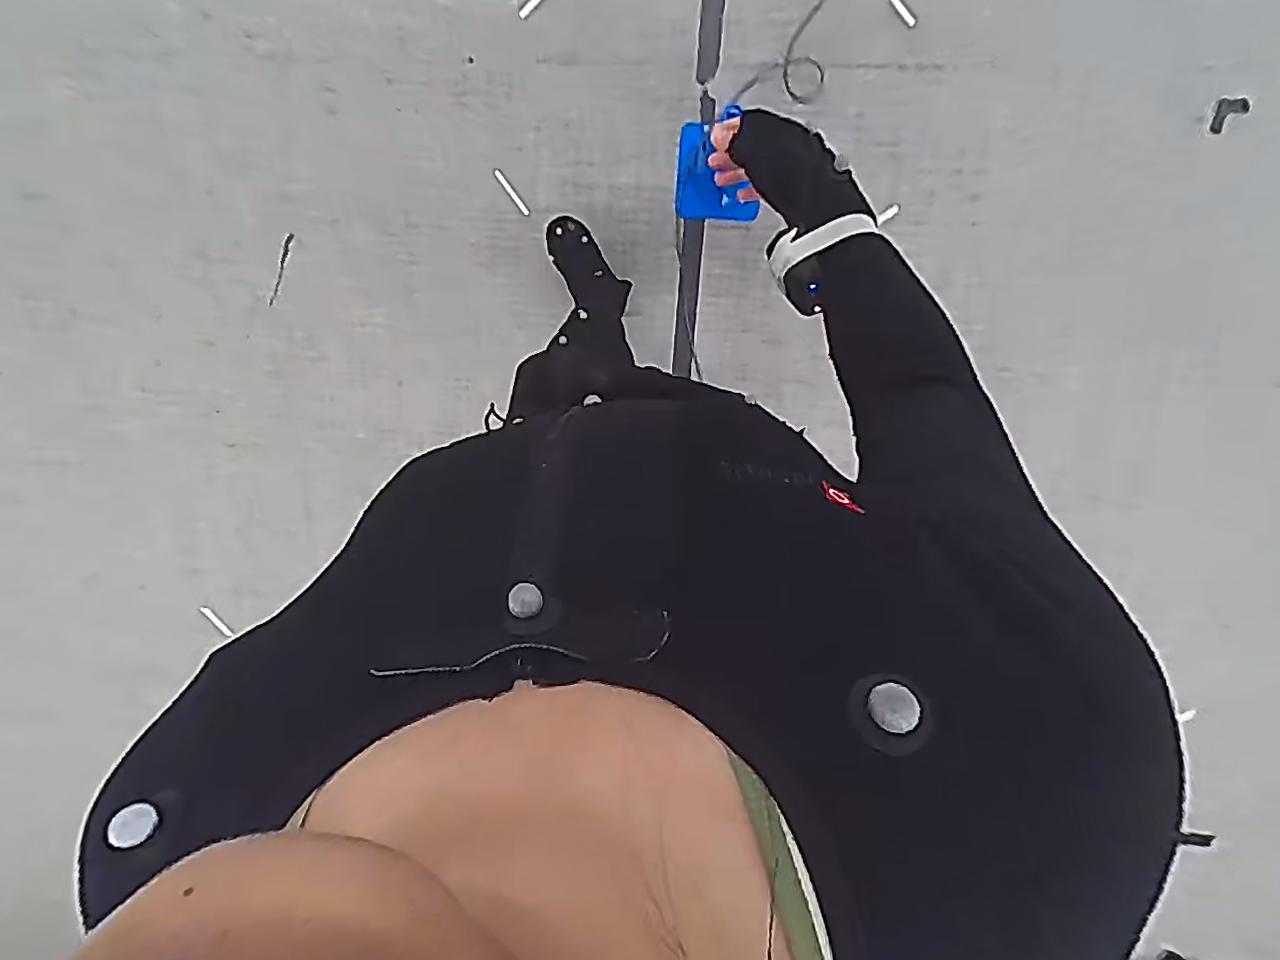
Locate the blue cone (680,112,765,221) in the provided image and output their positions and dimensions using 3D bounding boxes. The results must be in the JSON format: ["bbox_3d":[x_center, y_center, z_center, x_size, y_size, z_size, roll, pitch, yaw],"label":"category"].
[{"bbox_3d":[0.179,-0.657,1.084,0.193,0.380,0.192,3,105,3],"label":"blue cone"}]
